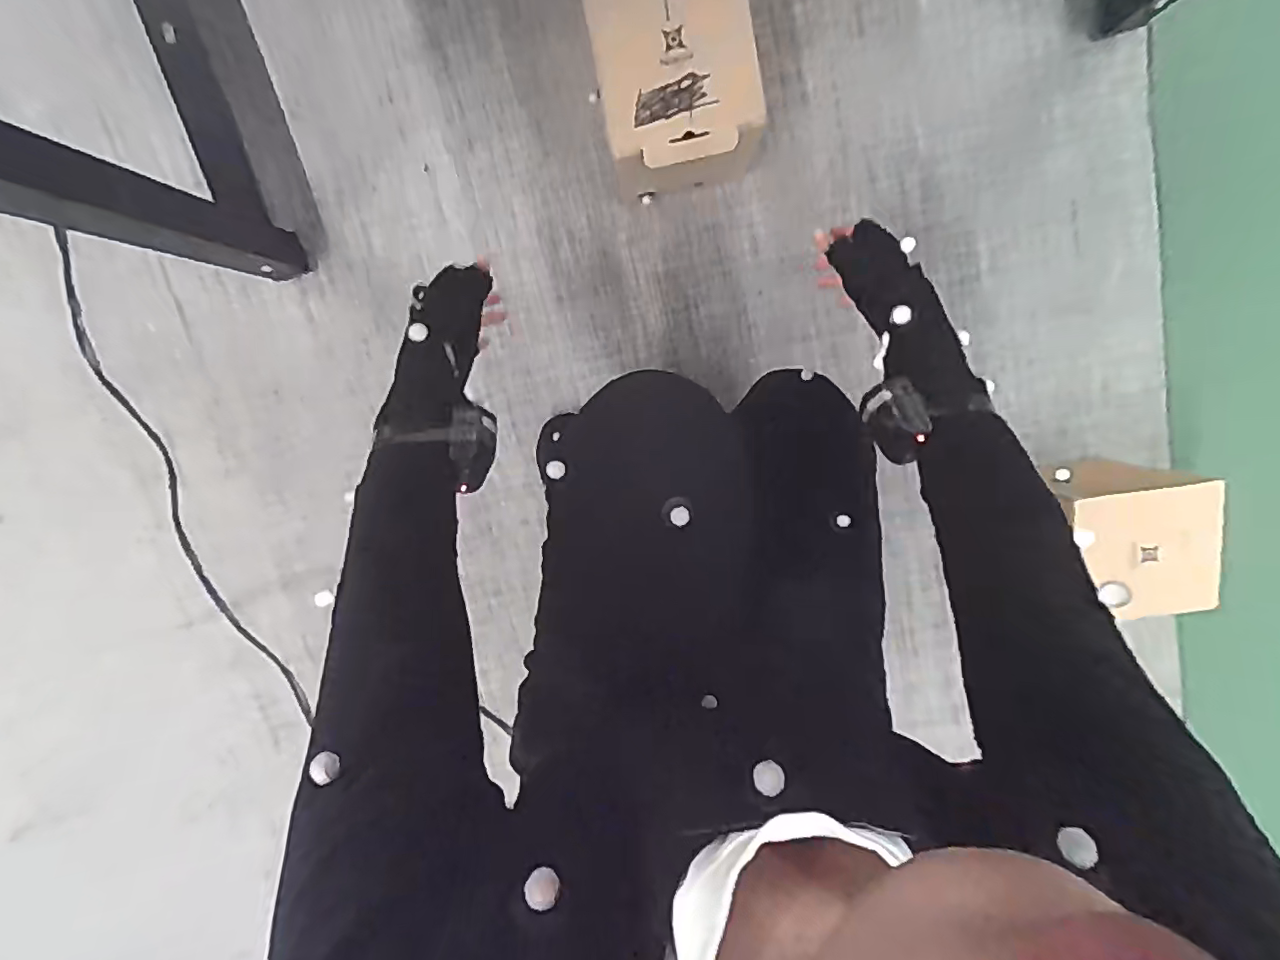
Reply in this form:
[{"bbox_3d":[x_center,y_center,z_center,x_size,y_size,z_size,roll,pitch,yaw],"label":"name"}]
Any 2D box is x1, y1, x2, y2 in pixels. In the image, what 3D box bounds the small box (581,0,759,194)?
[{"bbox_3d":[0.035,-0.459,0.636,0.168,0.176,0.179,-11,100,4],"label":"small box"}]
